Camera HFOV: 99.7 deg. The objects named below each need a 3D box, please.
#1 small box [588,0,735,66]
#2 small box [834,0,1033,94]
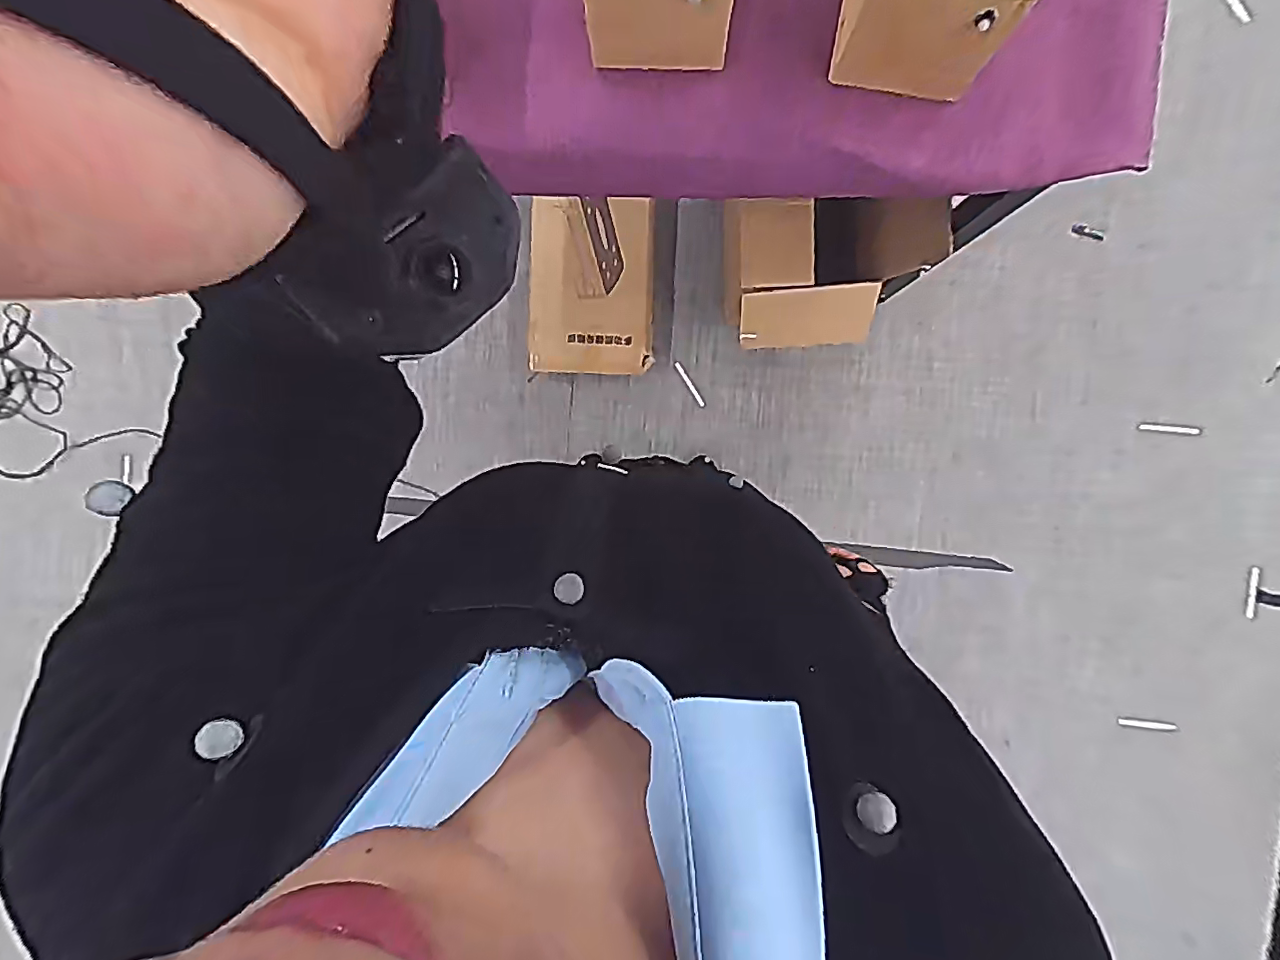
[{"bbox_3d":[0.029,-0.630,0.637,0.179,0.176,0.168,3,91,2],"label":"small box"},{"bbox_3d":[0.346,-0.592,0.629,0.179,0.176,0.168,10,93,1],"label":"small box"}]
